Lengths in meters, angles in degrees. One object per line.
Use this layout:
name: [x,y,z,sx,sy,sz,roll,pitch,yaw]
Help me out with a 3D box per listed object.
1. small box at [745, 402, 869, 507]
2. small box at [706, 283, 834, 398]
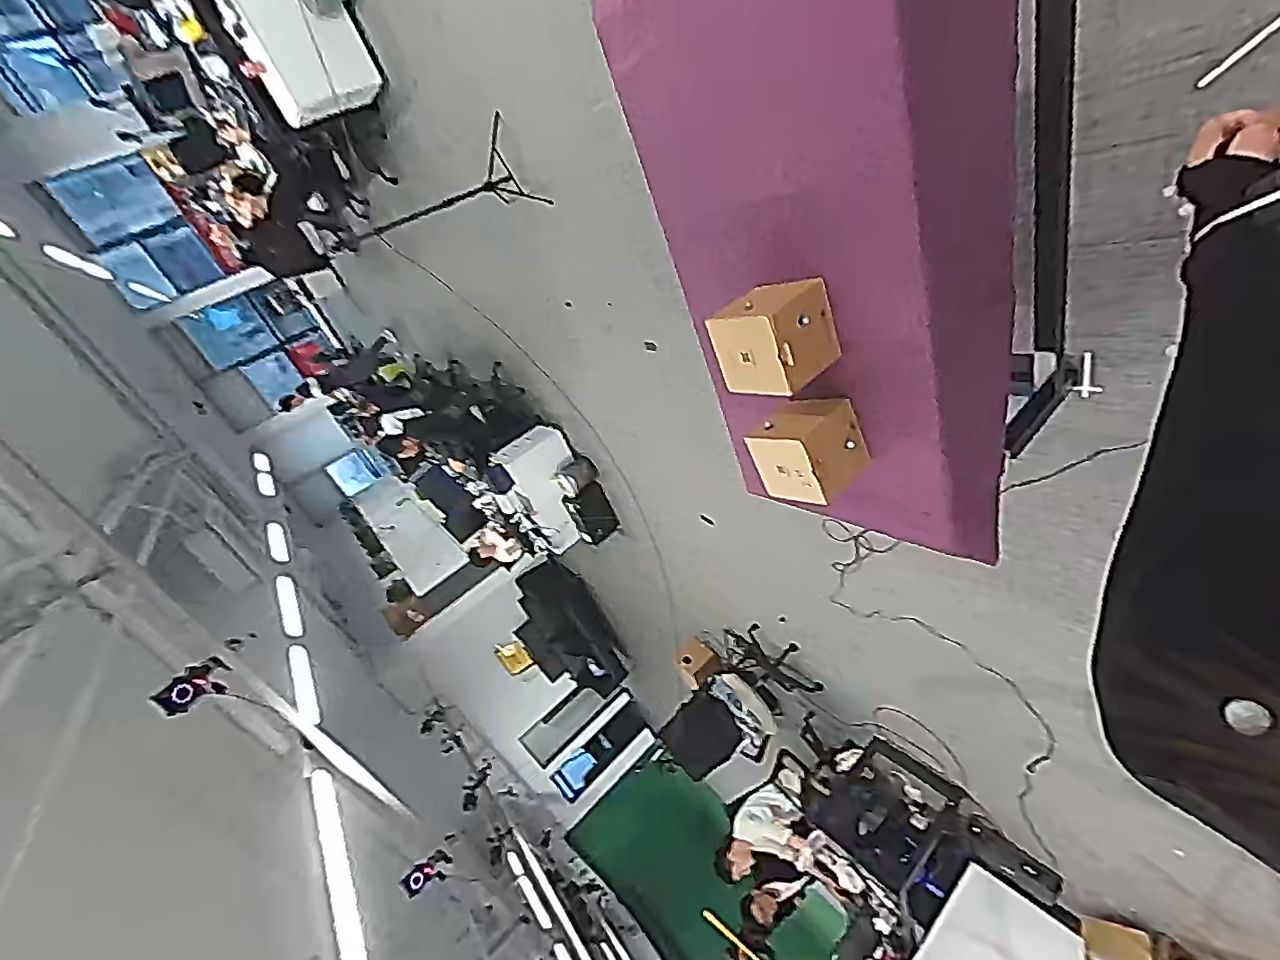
small box: [0.375,-0.064,1.213,0.179,0.176,0.168,10,133,58]
small box: [0.270,-0.283,1.095,0.179,0.176,0.168,19,140,54]
